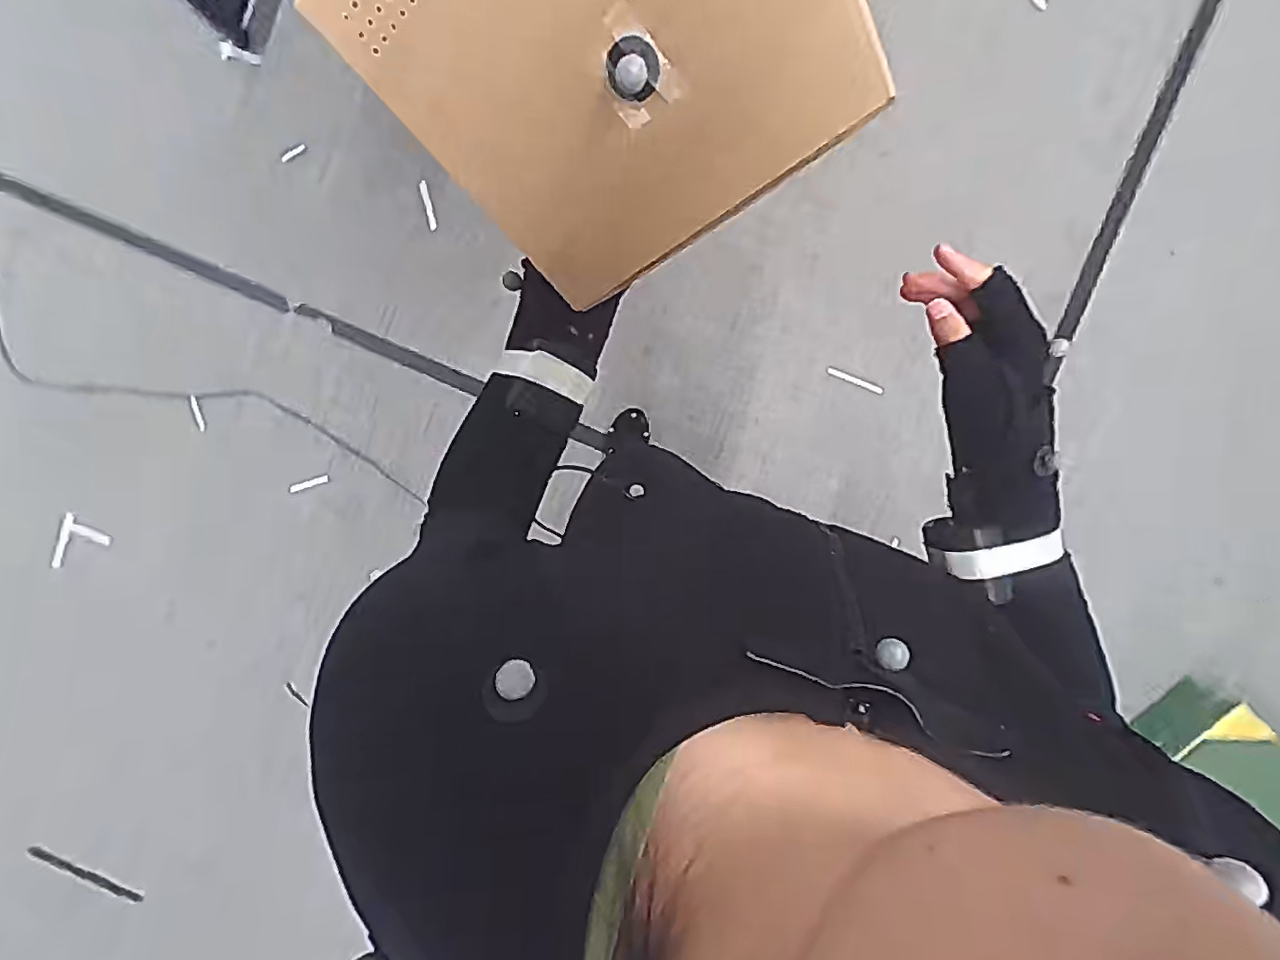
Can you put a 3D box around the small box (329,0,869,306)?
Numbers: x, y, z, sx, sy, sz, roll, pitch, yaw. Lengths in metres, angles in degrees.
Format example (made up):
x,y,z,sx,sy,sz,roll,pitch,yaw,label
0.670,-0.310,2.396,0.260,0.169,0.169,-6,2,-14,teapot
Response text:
x,y,z,sx,sy,sz,roll,pitch,yaw,label
-0.020,-0.232,0.266,0.179,0.168,0.176,-25,132,31,small box
